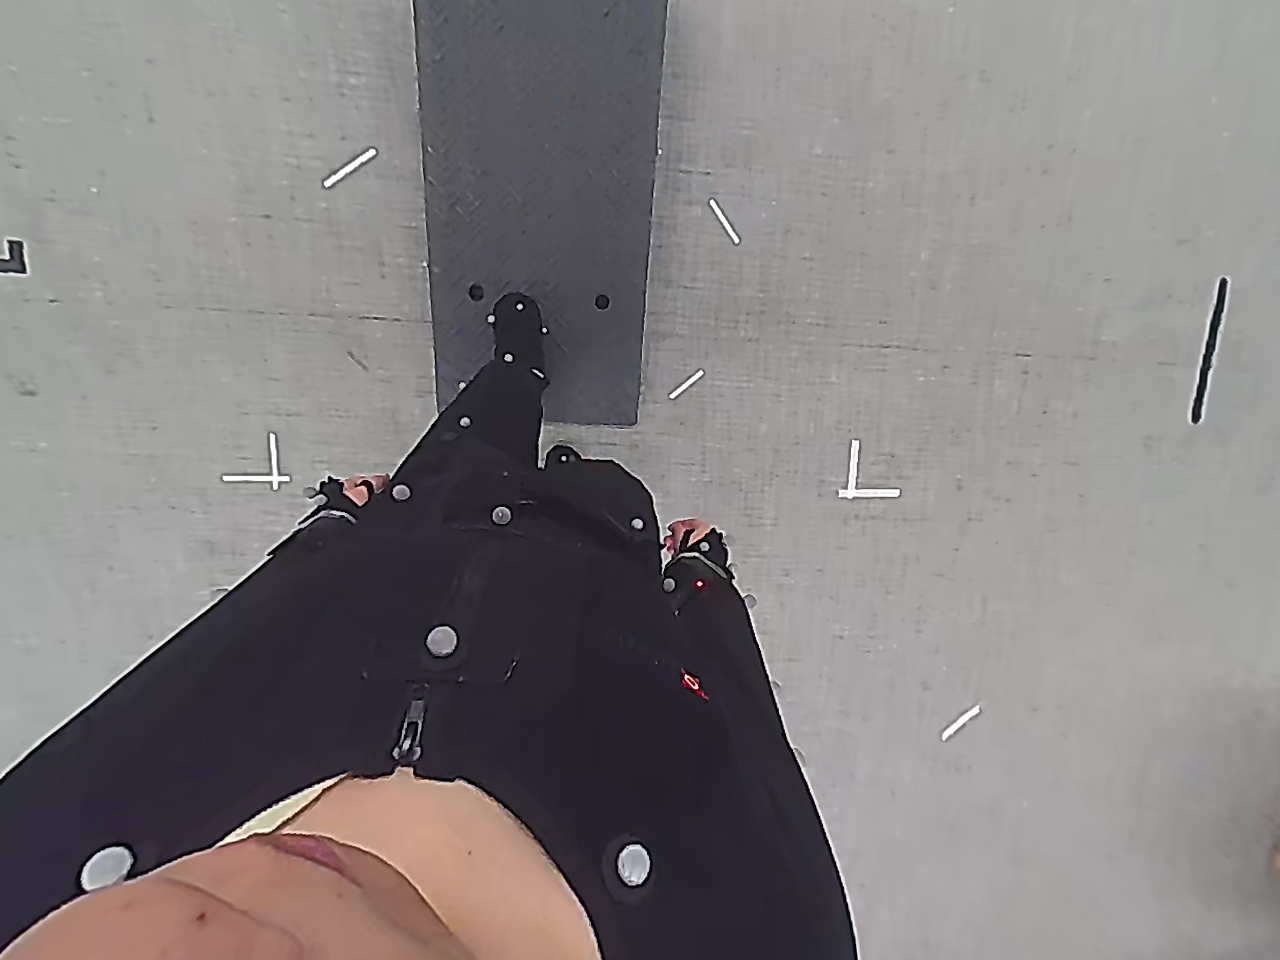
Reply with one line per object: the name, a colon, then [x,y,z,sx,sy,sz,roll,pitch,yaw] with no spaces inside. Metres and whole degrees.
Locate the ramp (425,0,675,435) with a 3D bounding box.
ramp: [-0.192,-0.588,1.187,0.509,0.206,0.991,0,100,-6]
